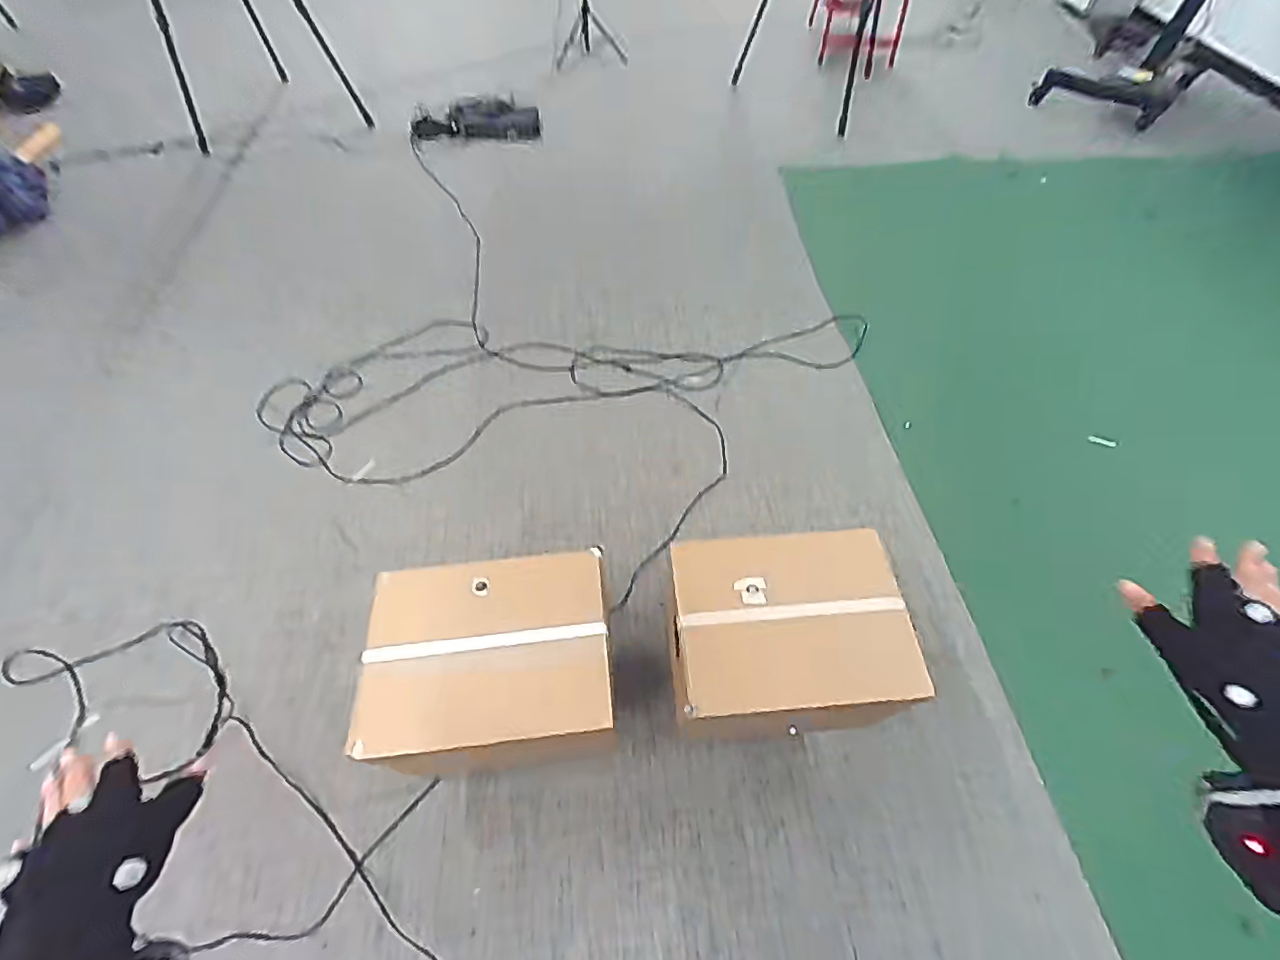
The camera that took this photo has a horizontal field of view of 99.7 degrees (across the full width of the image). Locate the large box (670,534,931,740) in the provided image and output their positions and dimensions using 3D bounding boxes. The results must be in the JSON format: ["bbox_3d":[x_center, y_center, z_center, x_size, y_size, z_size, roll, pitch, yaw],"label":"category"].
[{"bbox_3d":[0.280,0.327,1.095,0.408,0.320,0.320,-4,57,-2],"label":"large box"}]
